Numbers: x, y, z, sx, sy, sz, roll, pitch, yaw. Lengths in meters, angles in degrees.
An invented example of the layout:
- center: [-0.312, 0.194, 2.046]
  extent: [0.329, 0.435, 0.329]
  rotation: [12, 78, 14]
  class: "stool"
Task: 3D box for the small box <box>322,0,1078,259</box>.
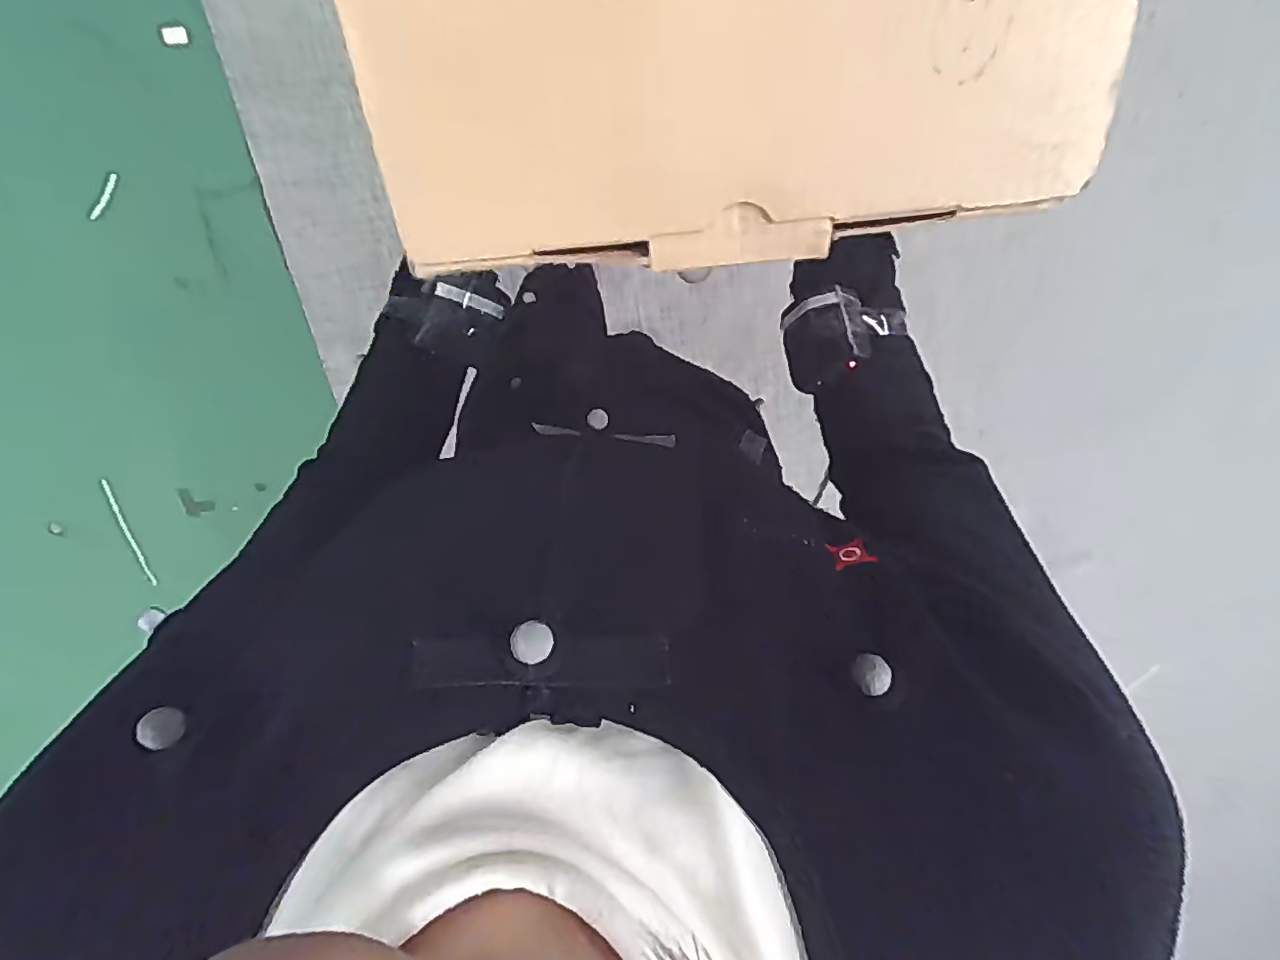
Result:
- center: [0.009, -0.177, 0.170]
  extent: [0.168, 0.176, 0.179]
  rotation: [-5, 117, 1]
  class: "small box"
